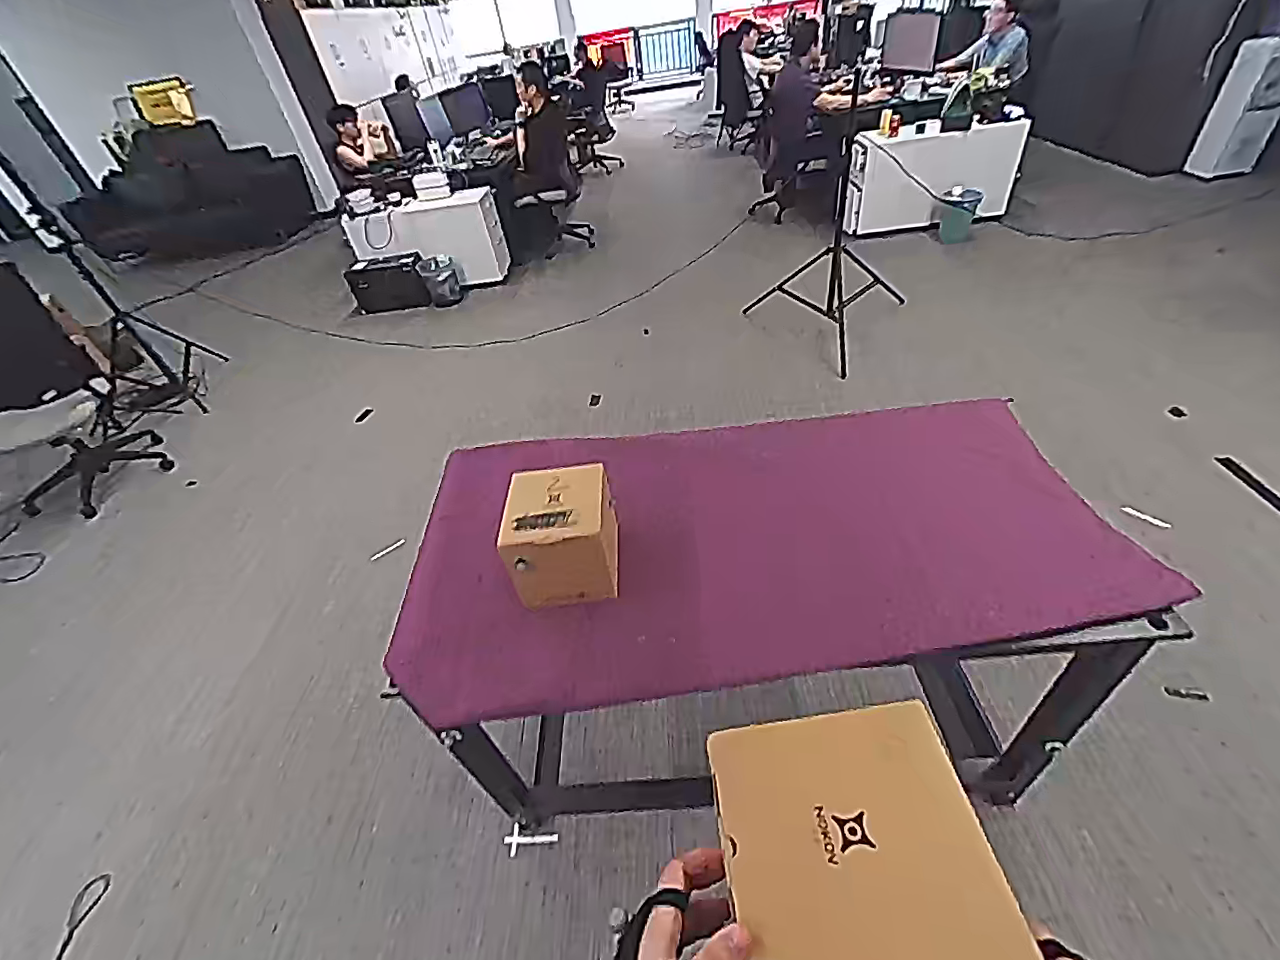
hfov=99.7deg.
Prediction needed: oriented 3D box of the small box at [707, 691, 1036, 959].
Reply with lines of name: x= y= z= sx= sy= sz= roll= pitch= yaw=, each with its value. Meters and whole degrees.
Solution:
small box: x=0.160 y=0.296 z=0.431 sx=0.179 sy=0.176 sz=0.168 roll=-12 pitch=40 yaw=7
